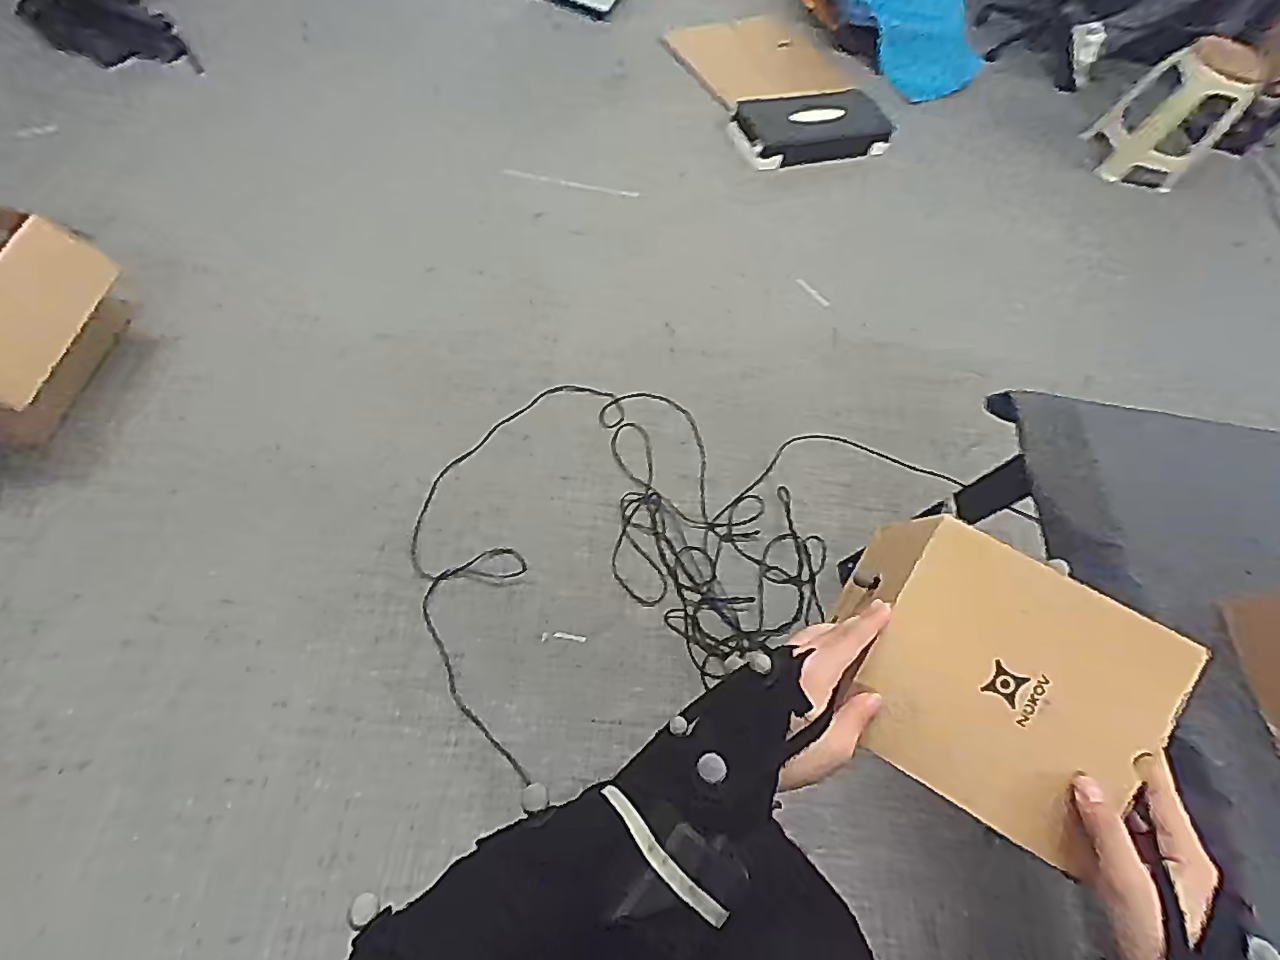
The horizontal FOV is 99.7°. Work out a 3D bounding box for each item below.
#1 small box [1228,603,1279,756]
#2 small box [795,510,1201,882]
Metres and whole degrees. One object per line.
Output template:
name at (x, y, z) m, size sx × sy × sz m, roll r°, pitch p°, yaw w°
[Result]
small box at (0.792, 0.216, 0.562) m, size 0.168 × 0.176 × 0.179 m, roll 8°, pitch 64°, yaw -6°
small box at (0.241, 0.143, 0.420) m, size 0.179 × 0.176 × 0.168 m, roll 30°, pitch 86°, yaw 11°
